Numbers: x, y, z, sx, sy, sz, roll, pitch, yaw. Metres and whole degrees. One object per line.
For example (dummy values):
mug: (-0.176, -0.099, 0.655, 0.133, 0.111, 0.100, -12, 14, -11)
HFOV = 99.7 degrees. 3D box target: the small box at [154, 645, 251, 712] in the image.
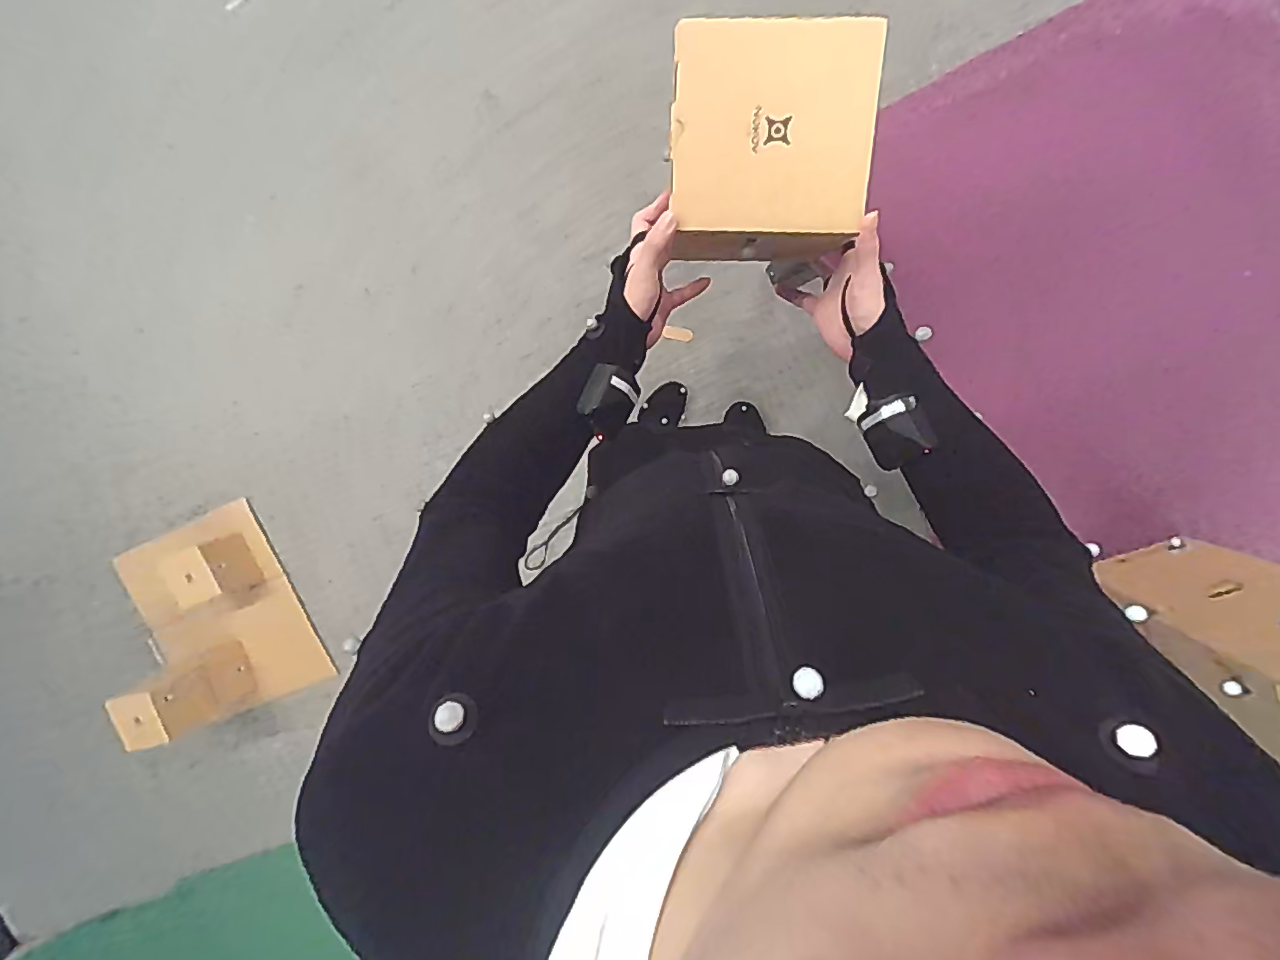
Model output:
small box: (-1.485, 0.681, 1.844, 0.168, 0.176, 0.179, -14, 98, 9)

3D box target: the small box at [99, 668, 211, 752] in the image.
small box: (-1.498, 0.704, 1.680, 0.168, 0.176, 0.179, -14, 98, 9)

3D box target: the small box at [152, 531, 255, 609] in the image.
small box: (-1.417, 0.289, 1.770, 0.168, 0.176, 0.179, -21, 97, 9)

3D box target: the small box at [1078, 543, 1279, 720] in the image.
small box: (0.787, 0.203, 0.782, 0.168, 0.176, 0.179, -21, 97, 10)

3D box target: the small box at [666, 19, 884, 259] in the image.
small box: (0.118, -0.323, 0.545, 0.179, 0.176, 0.168, 2, 105, 4)
